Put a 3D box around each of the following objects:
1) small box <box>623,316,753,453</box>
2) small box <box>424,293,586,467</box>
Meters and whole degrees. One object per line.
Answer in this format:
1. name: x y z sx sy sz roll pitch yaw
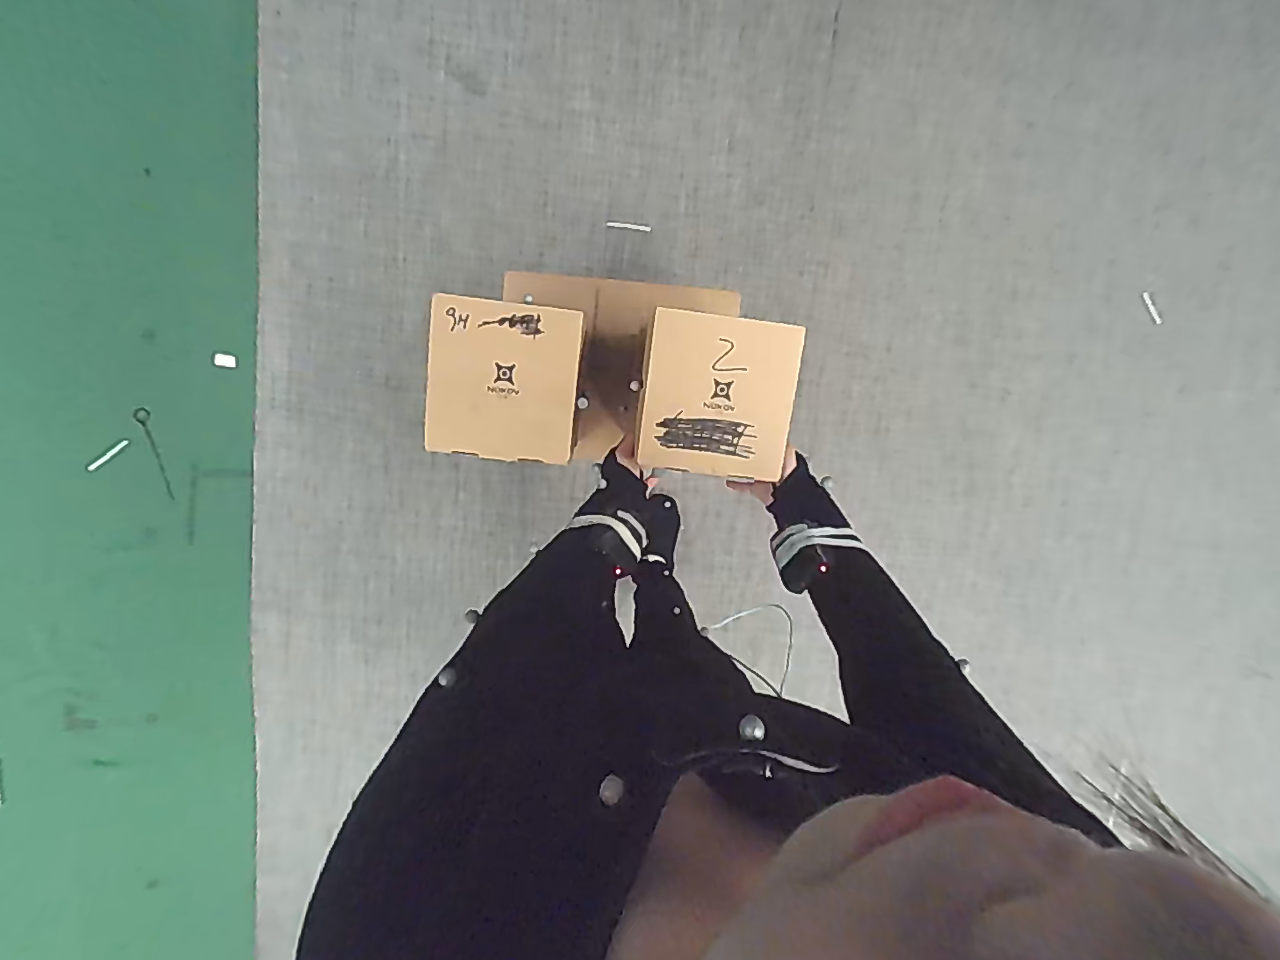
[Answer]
1. small box: 0.067 -0.146 0.857 0.168 0.176 0.179 8 97 -4
2. small box: -0.159 -0.123 0.683 0.168 0.176 0.179 6 99 -5
